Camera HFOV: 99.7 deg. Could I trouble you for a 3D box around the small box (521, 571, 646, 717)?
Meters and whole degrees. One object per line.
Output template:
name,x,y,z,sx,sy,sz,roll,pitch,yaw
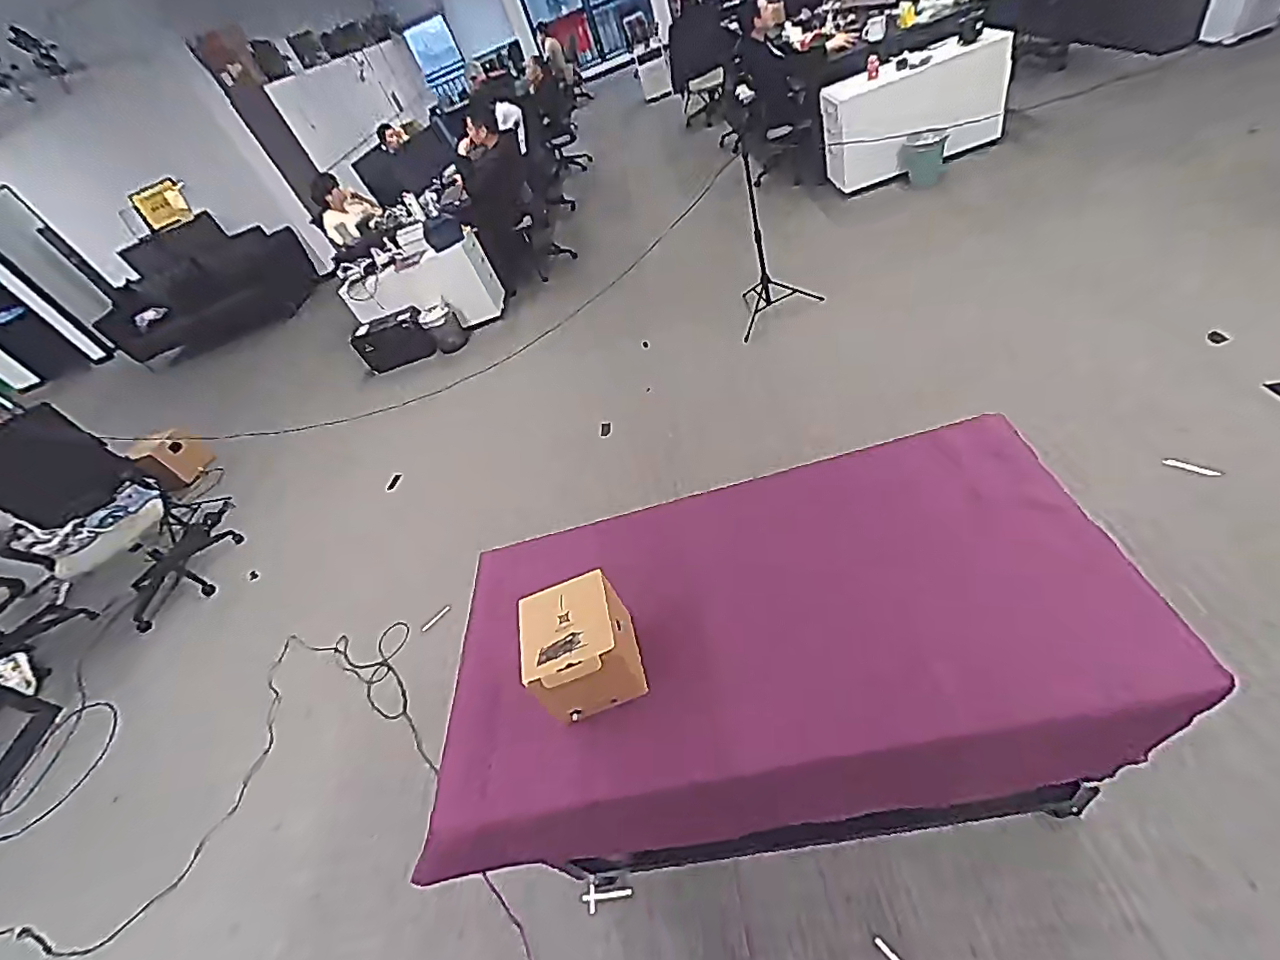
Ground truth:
small box,-0.100,0.303,0.974,0.168,0.176,0.179,-22,41,3
